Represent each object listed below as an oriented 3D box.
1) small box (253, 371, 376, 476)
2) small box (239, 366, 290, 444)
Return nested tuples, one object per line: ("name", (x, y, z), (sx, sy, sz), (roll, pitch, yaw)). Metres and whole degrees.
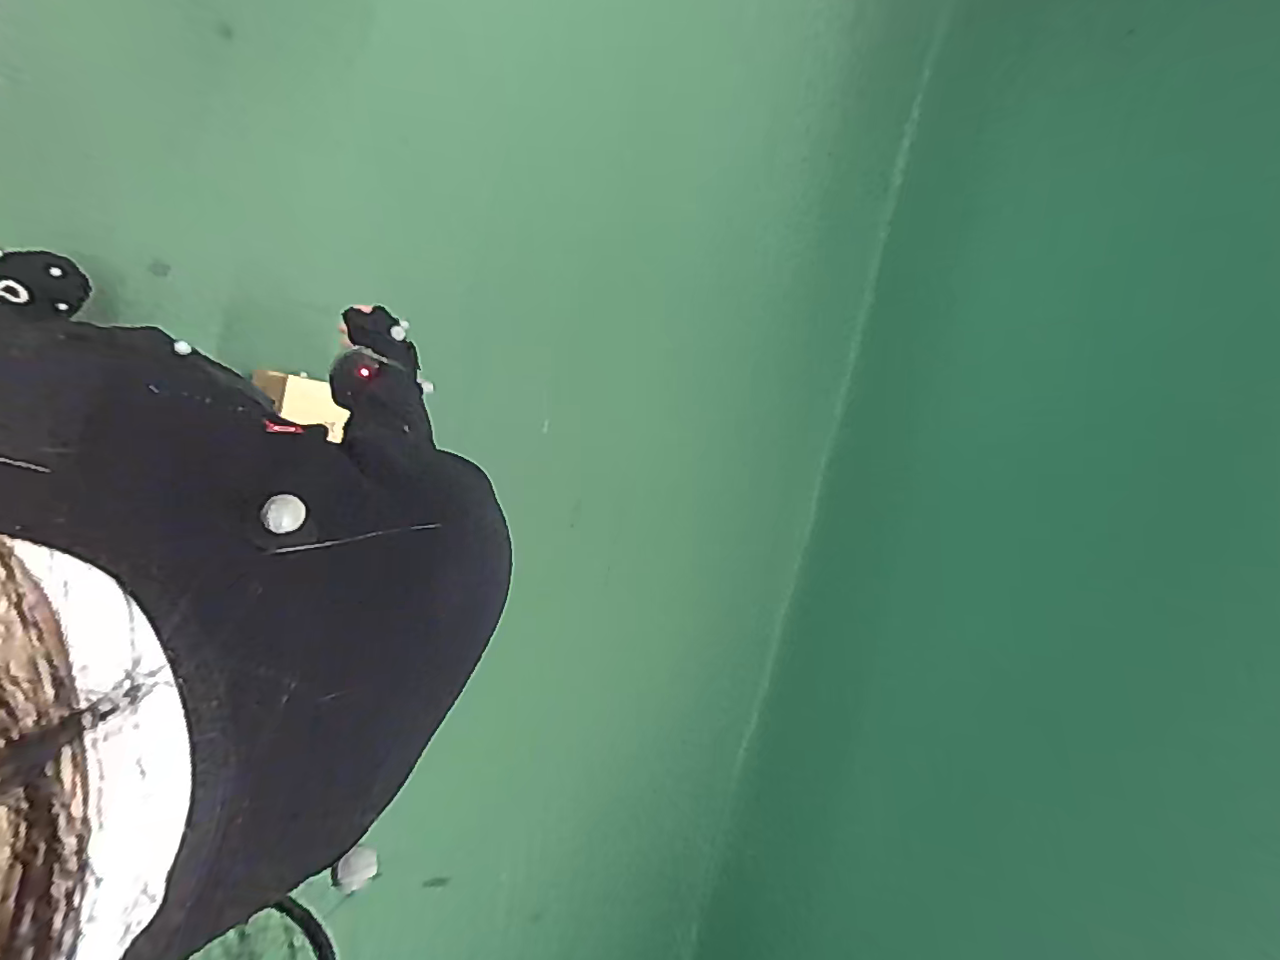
("small box", (-0.670, -0.118, 1.107), (0.168, 0.176, 0.179), (11, 94, -45))
("small box", (-0.781, -0.154, 1.222), (0.179, 0.176, 0.168), (12, 93, -44))
